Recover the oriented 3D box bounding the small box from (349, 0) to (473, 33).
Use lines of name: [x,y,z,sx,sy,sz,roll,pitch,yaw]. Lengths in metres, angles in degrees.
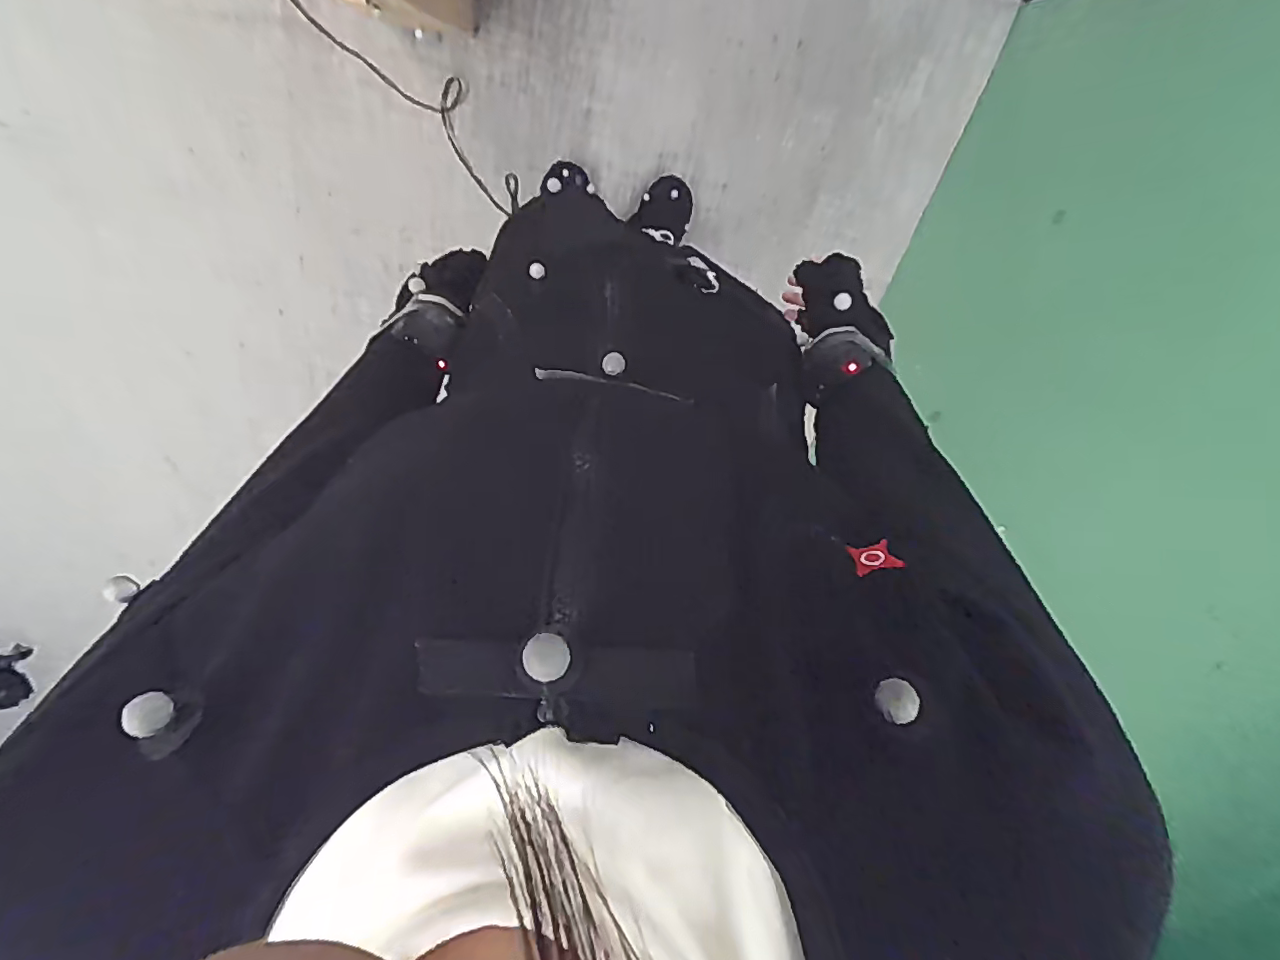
small box: [-0.391,-0.895,0.919,0.168,0.176,0.179,7,123,-2]
